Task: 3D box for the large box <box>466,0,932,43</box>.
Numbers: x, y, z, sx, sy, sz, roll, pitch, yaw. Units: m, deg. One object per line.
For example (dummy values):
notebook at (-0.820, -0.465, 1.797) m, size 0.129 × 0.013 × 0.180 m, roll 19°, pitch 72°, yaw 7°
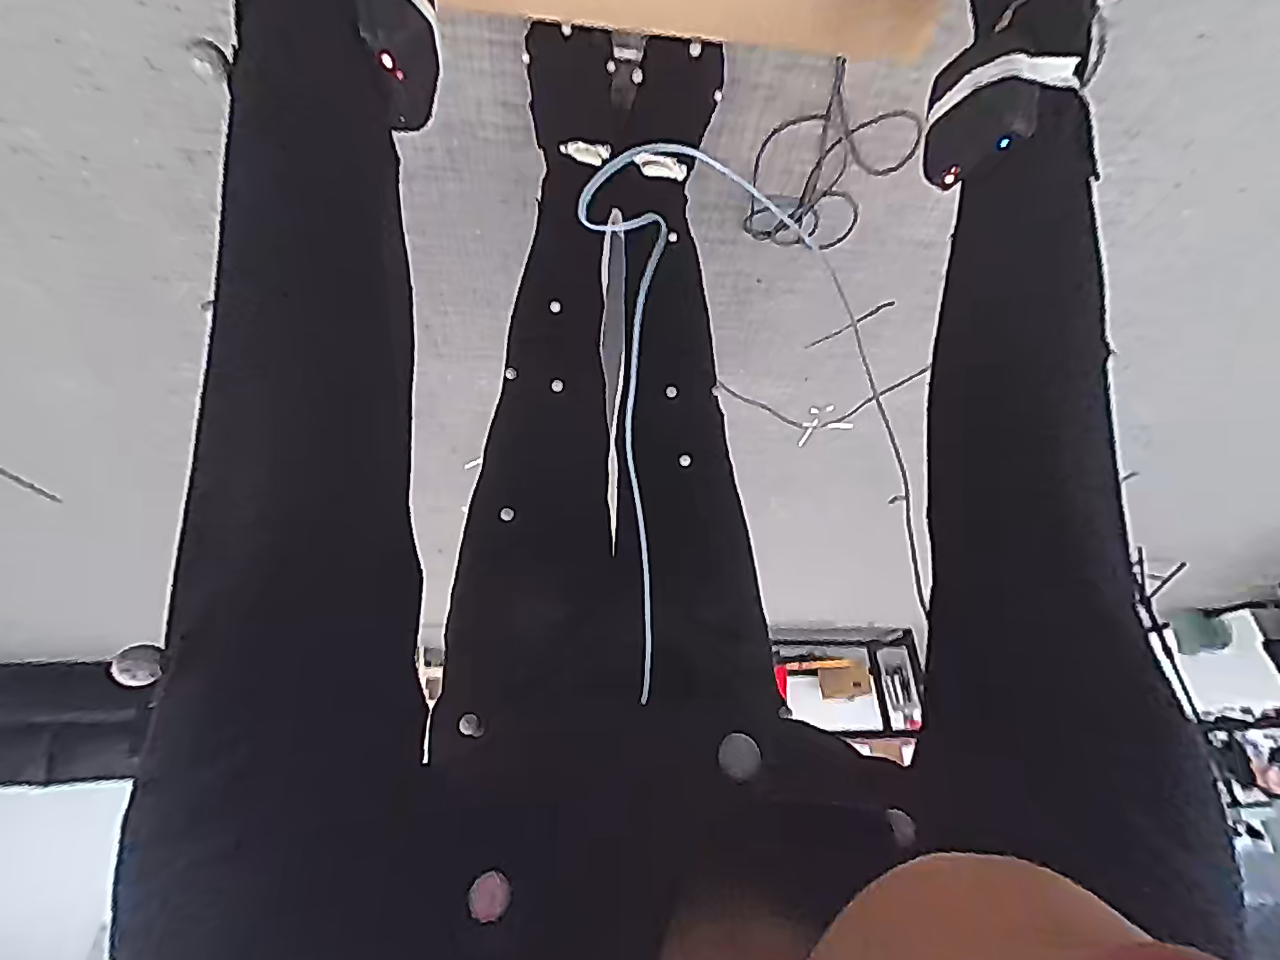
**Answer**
large box at (0.036, -0.567, 0.370) m, size 0.408 × 0.320 × 0.320 m, roll 2°, pitch 150°, yaw -6°
